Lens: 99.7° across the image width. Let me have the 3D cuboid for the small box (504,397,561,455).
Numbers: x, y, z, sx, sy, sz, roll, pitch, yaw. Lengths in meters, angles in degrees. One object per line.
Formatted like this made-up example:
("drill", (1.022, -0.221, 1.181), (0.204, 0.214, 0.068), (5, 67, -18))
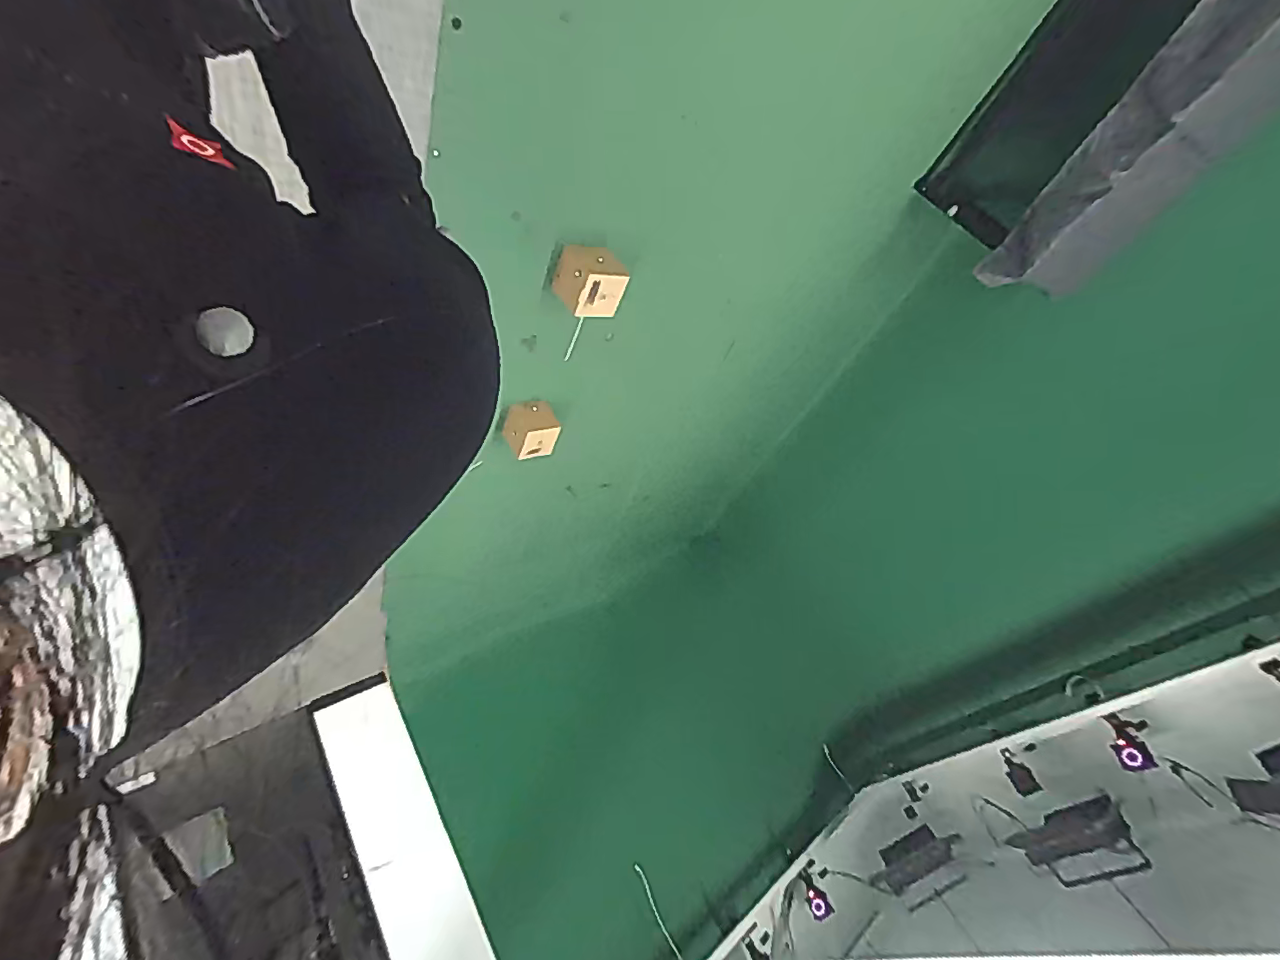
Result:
("small box", (-0.471, -0.235, 2.339), (0.168, 0.176, 0.179), (-15, 150, -39))
